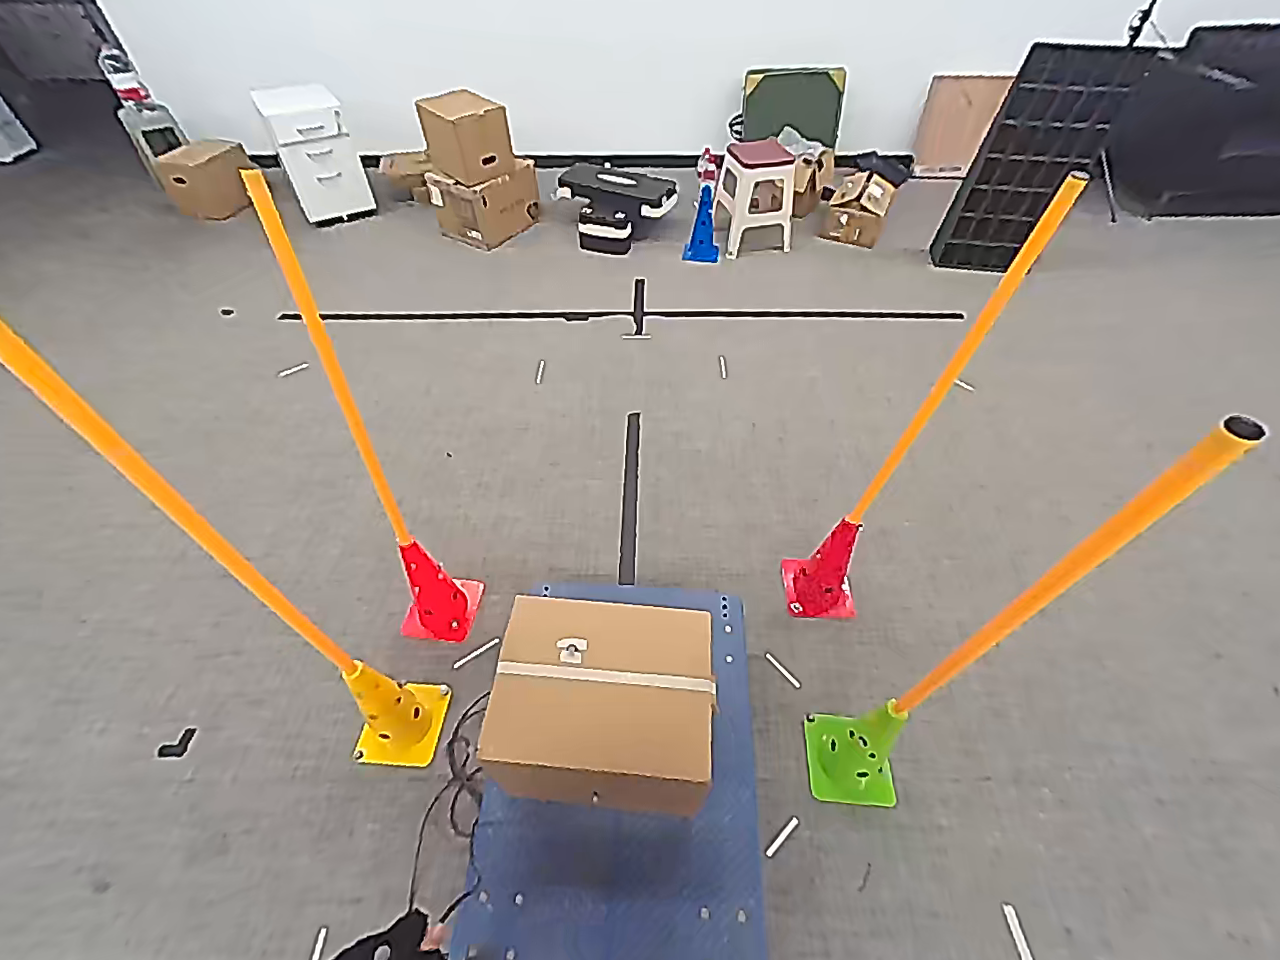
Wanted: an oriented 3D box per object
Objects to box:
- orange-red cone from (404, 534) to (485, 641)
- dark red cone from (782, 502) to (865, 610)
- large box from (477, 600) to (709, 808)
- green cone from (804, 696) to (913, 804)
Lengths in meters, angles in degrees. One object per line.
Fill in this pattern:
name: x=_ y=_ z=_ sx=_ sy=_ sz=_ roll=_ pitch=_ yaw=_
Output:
orange-red cone: x=-0.582 y=0.267 z=1.498 sx=0.198 sy=0.360 sz=0.199 roll=7 pitch=48 yaw=5
dark red cone: x=0.550 y=0.199 z=1.527 sx=0.201 sy=0.394 sz=0.202 roll=2 pitch=49 yaw=-1
large box: x=-0.068 y=0.470 z=1.125 sx=0.408 sy=0.320 sz=0.320 roll=4 pitch=49 yaw=4
green cone: x=0.521 y=0.576 z=1.222 sx=0.202 sy=0.368 sz=0.200 roll=4 pitch=49 yaw=2
